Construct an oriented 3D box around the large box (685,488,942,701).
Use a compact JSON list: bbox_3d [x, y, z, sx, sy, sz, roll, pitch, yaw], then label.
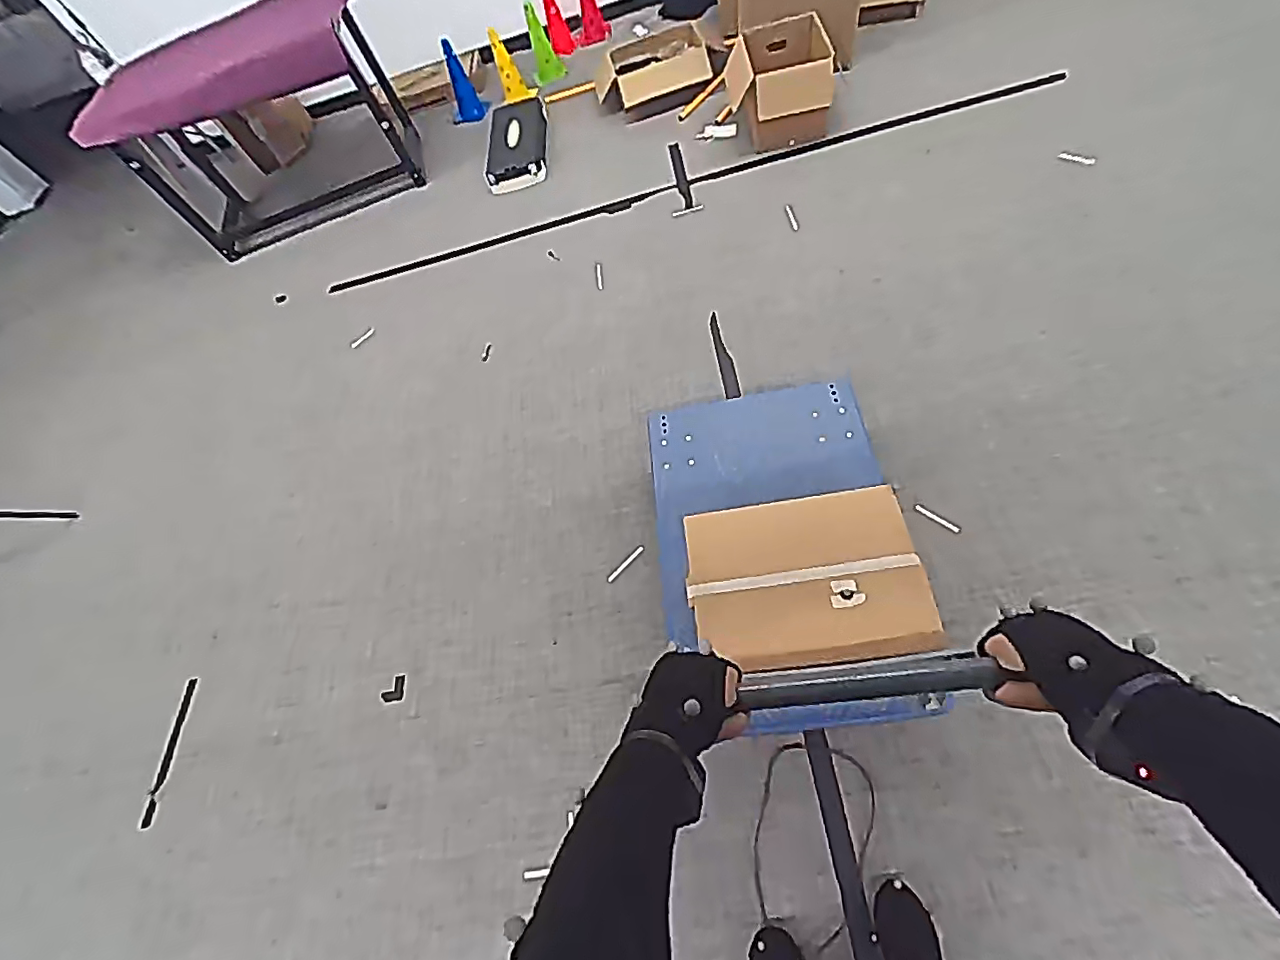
[{"bbox_3d":[0.326,0.254,1.122,0.408,0.320,0.320,-10,60,8],"label":"large box"}]
